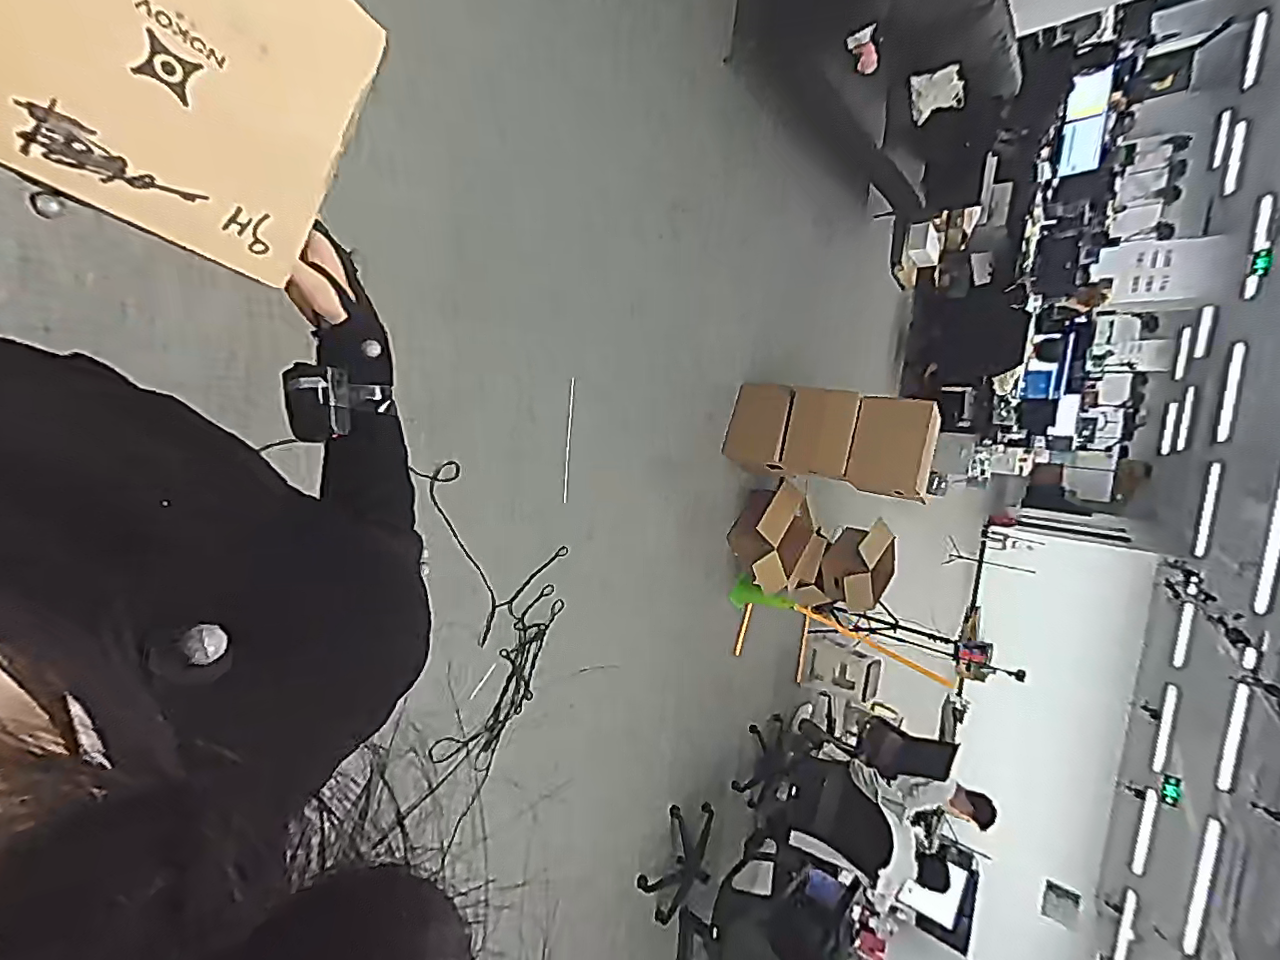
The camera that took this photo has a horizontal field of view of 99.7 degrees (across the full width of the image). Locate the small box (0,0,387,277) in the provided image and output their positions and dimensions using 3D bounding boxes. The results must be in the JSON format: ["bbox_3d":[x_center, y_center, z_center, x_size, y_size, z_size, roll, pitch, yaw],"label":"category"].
[{"bbox_3d":[-0.292,-0.251,0.312,0.168,0.176,0.179,21,95,-57],"label":"small box"}]
